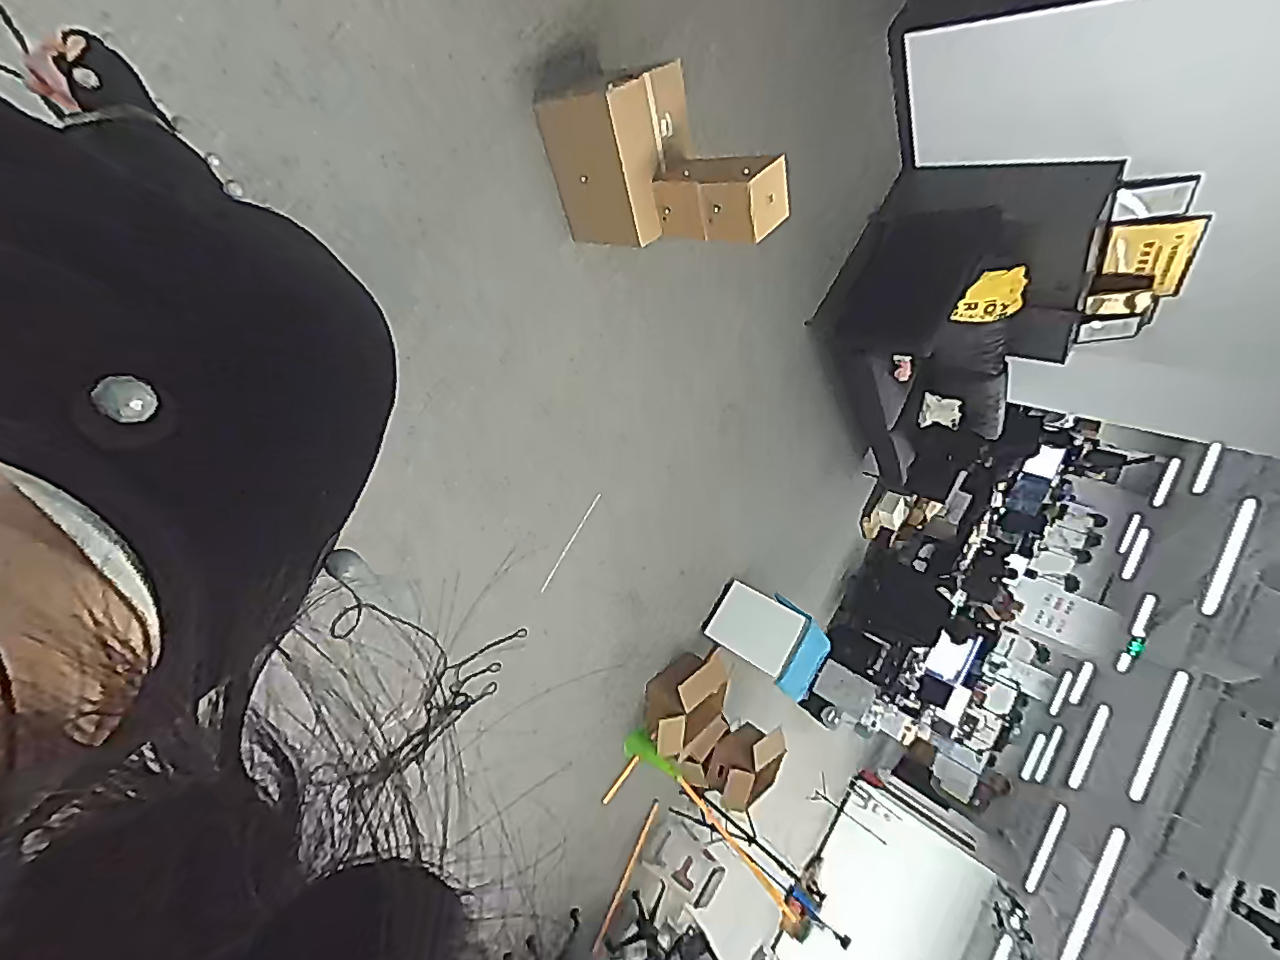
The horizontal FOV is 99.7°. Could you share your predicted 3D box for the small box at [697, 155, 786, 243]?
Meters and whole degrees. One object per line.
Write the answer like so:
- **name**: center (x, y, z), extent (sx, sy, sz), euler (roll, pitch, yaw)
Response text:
- **small box**: center (0.285, -0.786, 1.508), extent (0.179, 0.176, 0.168), euler (-46, 139, -24)
